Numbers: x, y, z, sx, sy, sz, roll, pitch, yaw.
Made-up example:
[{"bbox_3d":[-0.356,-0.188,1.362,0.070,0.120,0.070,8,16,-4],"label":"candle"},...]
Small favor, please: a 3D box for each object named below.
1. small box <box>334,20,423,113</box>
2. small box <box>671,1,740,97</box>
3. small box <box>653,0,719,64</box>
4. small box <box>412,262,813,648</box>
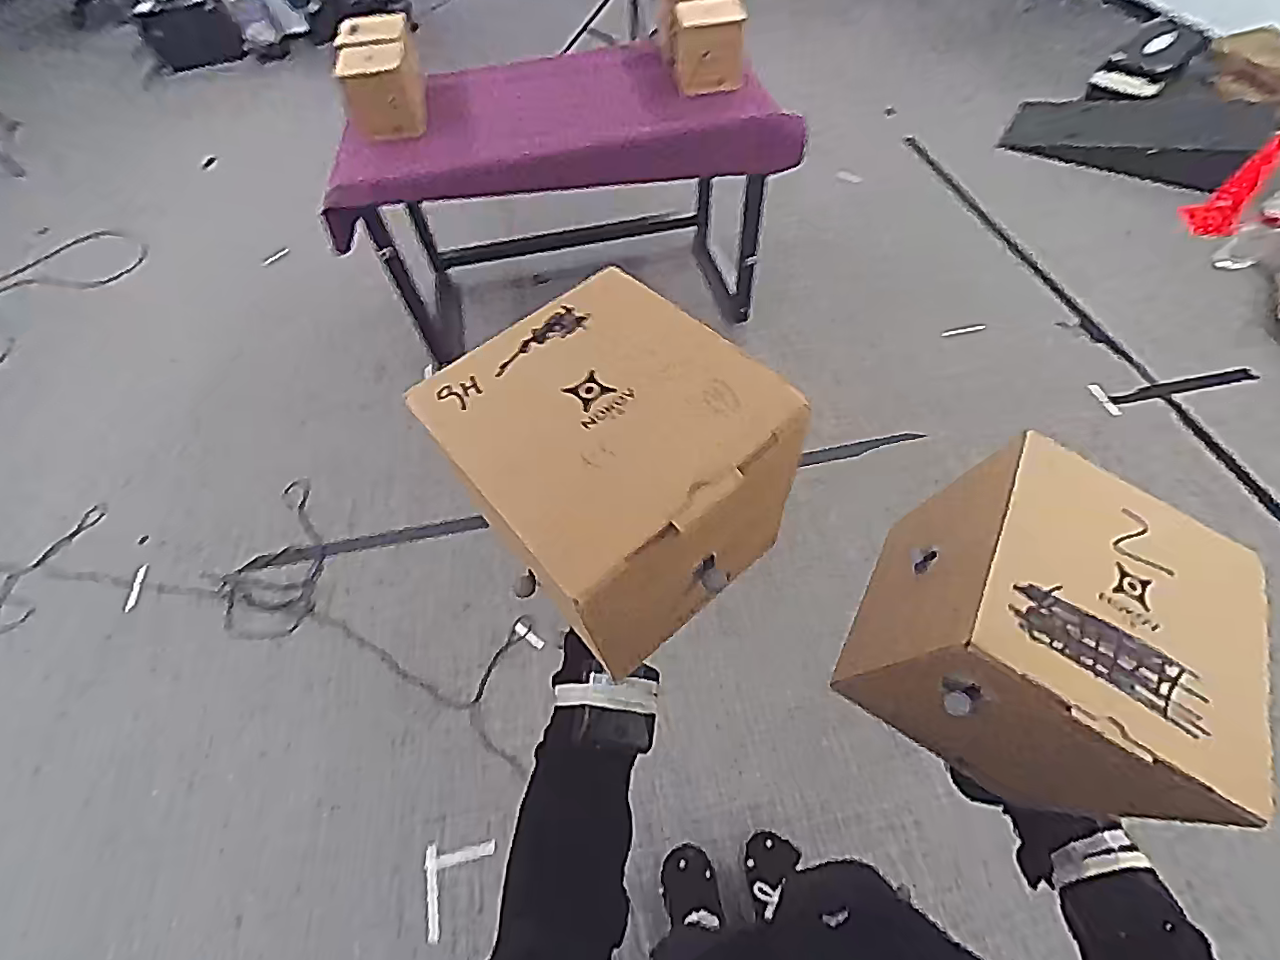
[{"bbox_3d":[-0.759,-1.205,1.585,0.179,0.176,0.168,-9,59,-4],"label":"small box"},{"bbox_3d":[0.184,-1.218,1.538,0.168,0.176,0.179,-8,56,0],"label":"small box"},{"bbox_3d":[0.138,-1.405,1.652,0.179,0.176,0.168,-10,58,-4],"label":"small box"},{"bbox_3d":[-0.013,-0.007,0.375,0.168,0.176,0.179,-39,62,-17],"label":"small box"}]
